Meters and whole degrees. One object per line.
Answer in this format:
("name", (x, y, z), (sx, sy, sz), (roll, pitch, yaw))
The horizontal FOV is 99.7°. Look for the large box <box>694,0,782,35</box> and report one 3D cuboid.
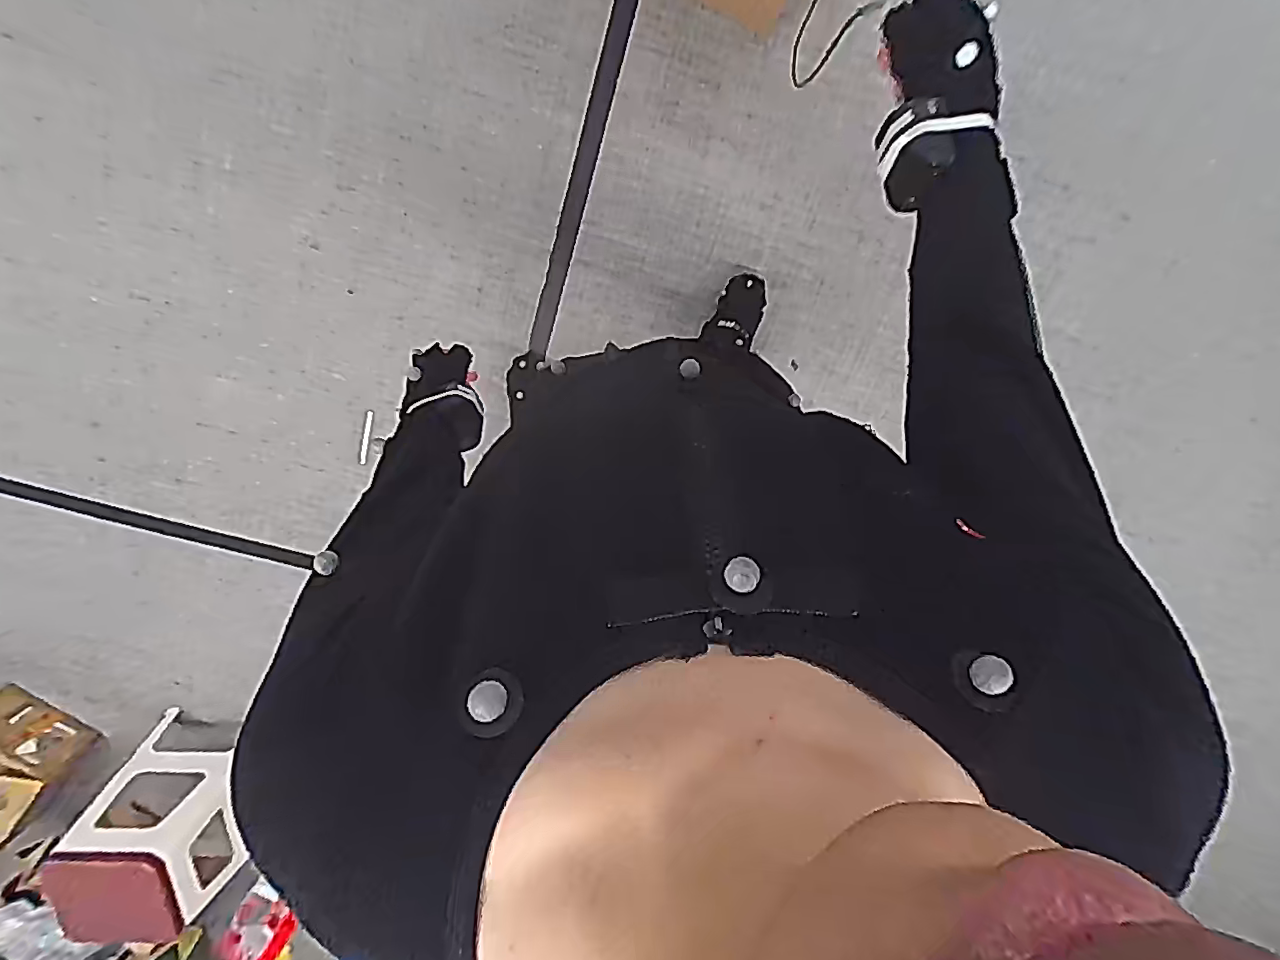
("large box", (0.152, -1.138, 0.985), (0.408, 0.320, 0.320), (22, 106, -8))
